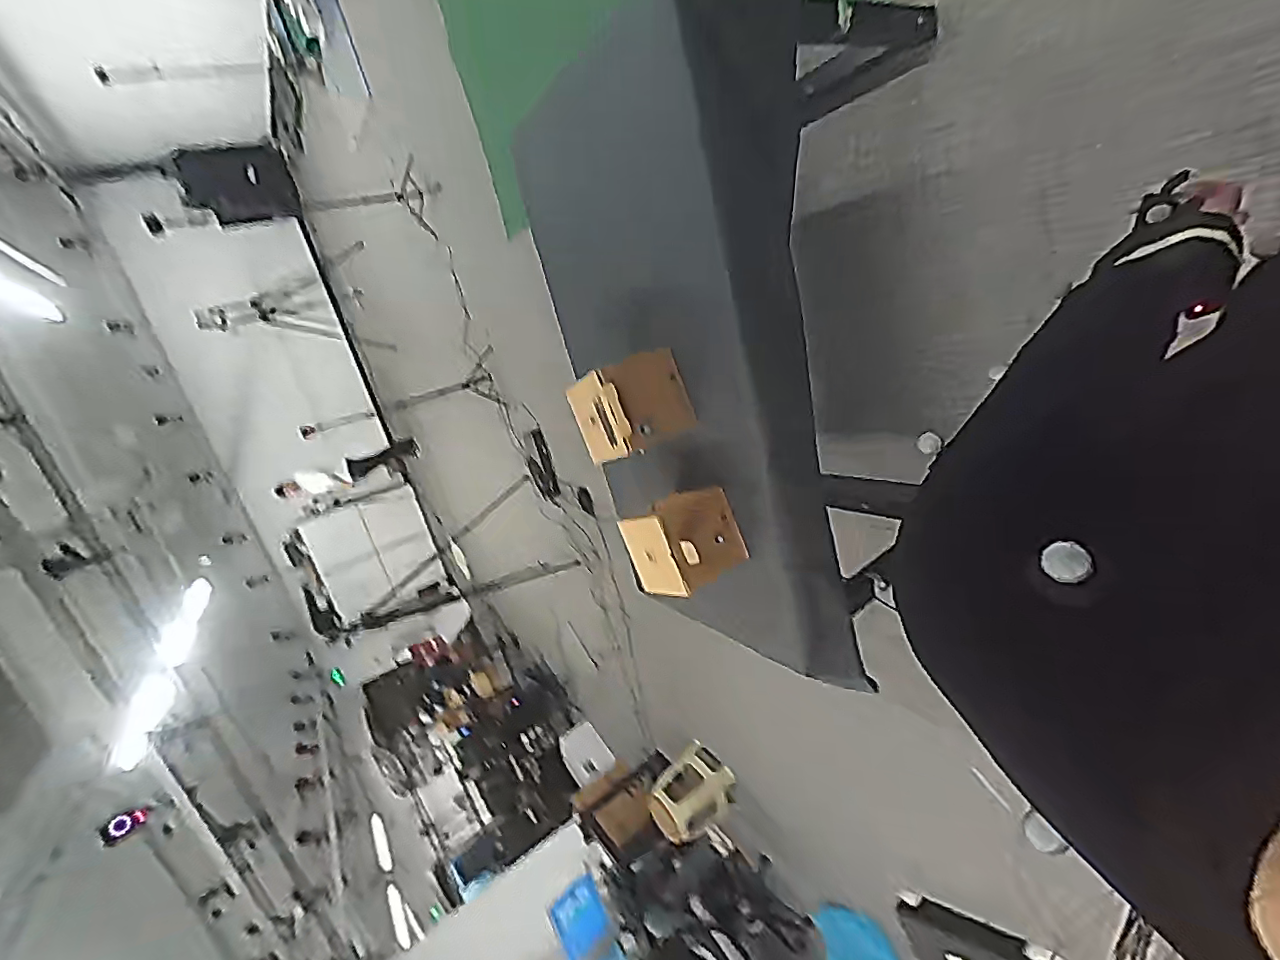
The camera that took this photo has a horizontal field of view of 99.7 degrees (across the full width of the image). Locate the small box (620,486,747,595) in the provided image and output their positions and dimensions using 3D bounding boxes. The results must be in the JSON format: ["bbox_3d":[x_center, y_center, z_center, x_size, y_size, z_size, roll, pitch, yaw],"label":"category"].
[{"bbox_3d":[0.090,0.124,1.127,0.179,0.176,0.168,-16,97,61],"label":"small box"}]
